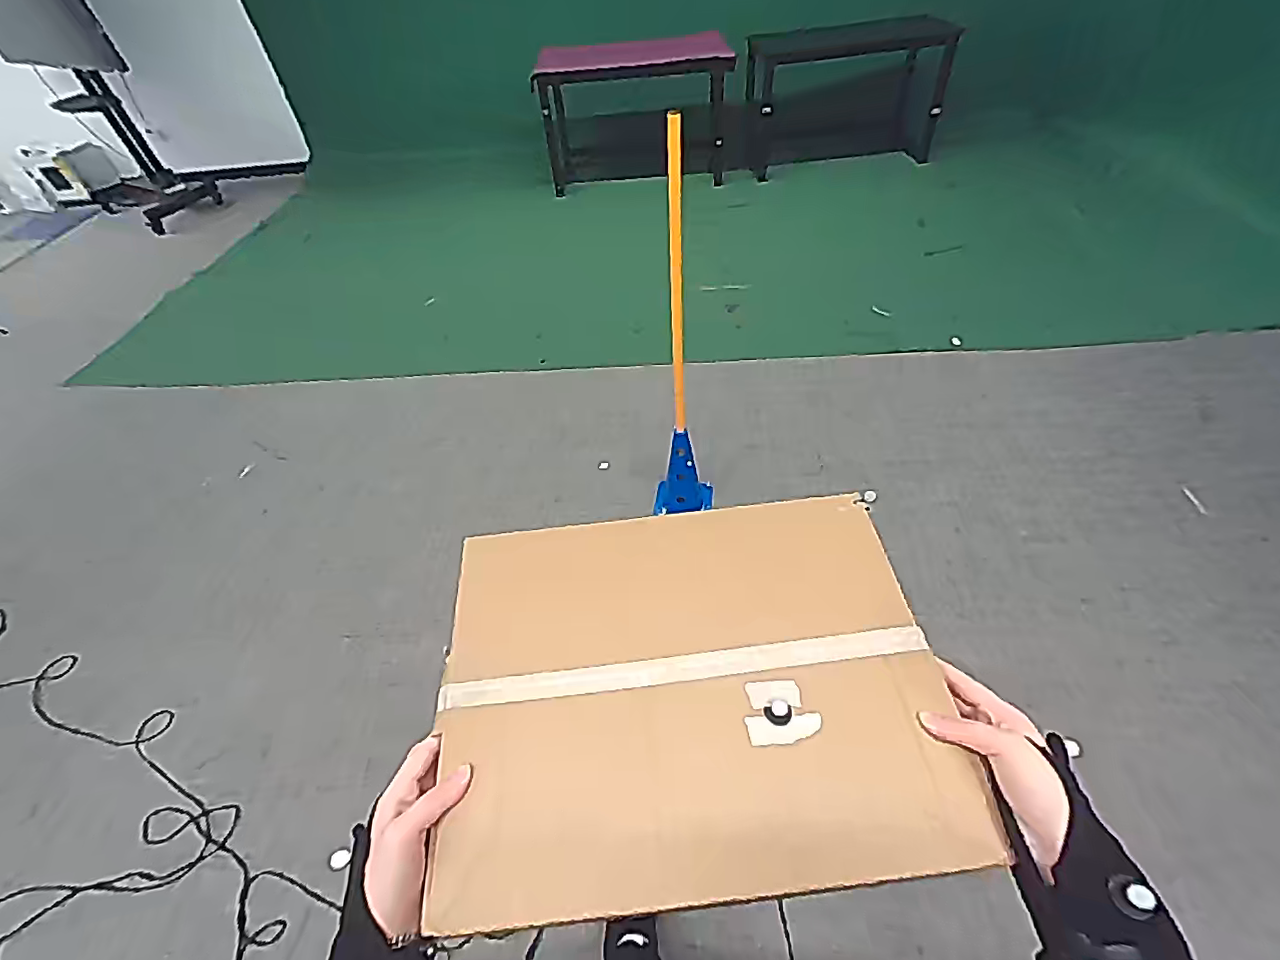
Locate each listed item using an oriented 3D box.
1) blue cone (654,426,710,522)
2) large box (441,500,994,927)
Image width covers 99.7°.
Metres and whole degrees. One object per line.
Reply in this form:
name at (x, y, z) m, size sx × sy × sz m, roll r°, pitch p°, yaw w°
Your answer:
blue cone at (0.140, -0.022, 1.814) m, size 0.193 × 0.380 × 0.192 m, roll 5°, pitch 48°, yaw 11°
large box at (0.046, 0.254, 0.583) m, size 0.408 × 0.320 × 0.320 m, roll -6°, pitch 52°, yaw -2°
